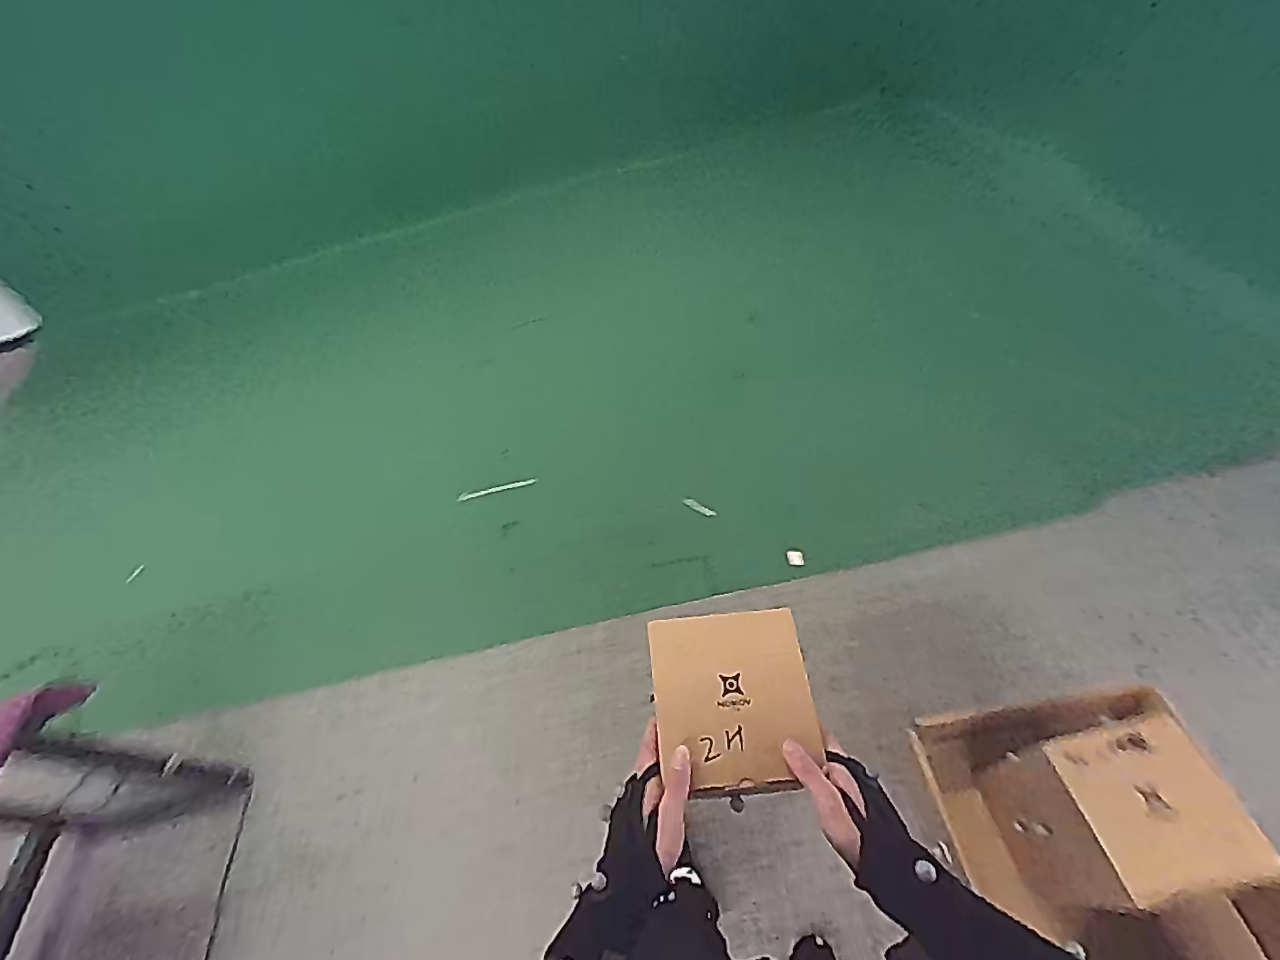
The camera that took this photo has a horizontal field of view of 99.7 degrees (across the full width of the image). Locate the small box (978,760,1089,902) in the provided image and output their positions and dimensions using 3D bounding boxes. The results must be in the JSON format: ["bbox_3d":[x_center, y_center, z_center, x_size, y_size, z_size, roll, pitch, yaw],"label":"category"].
[{"bbox_3d":[0.662,0.528,0.834,0.168,0.176,0.179,-14,54,5],"label":"small box"}]

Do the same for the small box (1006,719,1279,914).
[{"bbox_3d":[0.627,0.434,0.705,0.168,0.176,0.179,-15,53,4],"label":"small box"}]

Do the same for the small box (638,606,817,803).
[{"bbox_3d":[0.088,0.268,0.636,0.168,0.176,0.179,-7,57,0],"label":"small box"}]
